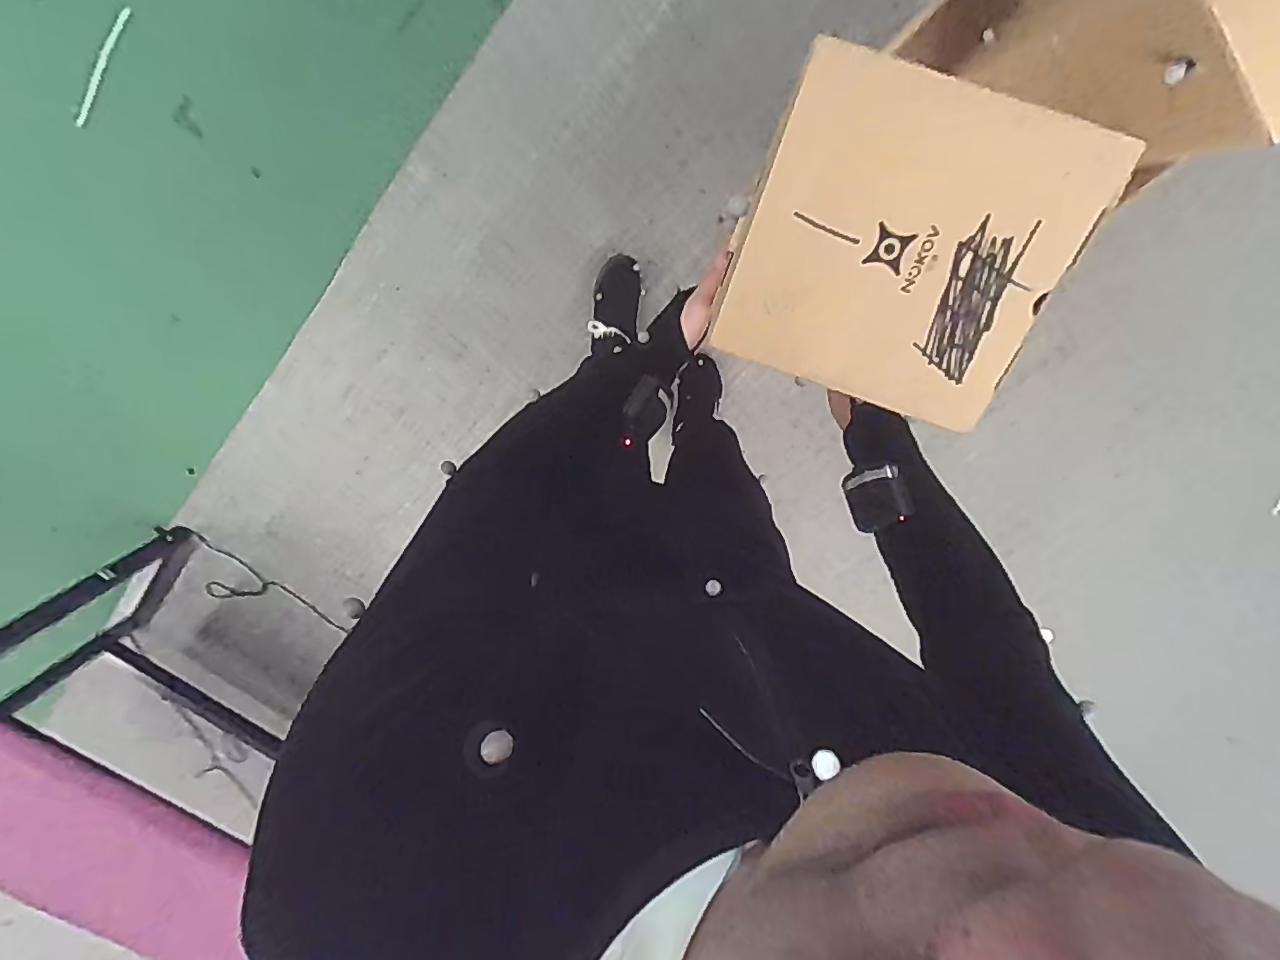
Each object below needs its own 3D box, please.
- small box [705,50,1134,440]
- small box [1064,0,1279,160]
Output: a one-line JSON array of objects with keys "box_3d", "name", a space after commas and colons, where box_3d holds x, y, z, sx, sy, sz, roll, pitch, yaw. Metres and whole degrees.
[{"box_3d": [0.156, -0.152, 0.377, 0.179, 0.176, 0.168, 19, 114, 1], "name": "small box"}, {"box_3d": [0.548, -0.422, 0.489, 0.168, 0.176, 0.179, -40, 106, 19], "name": "small box"}]
